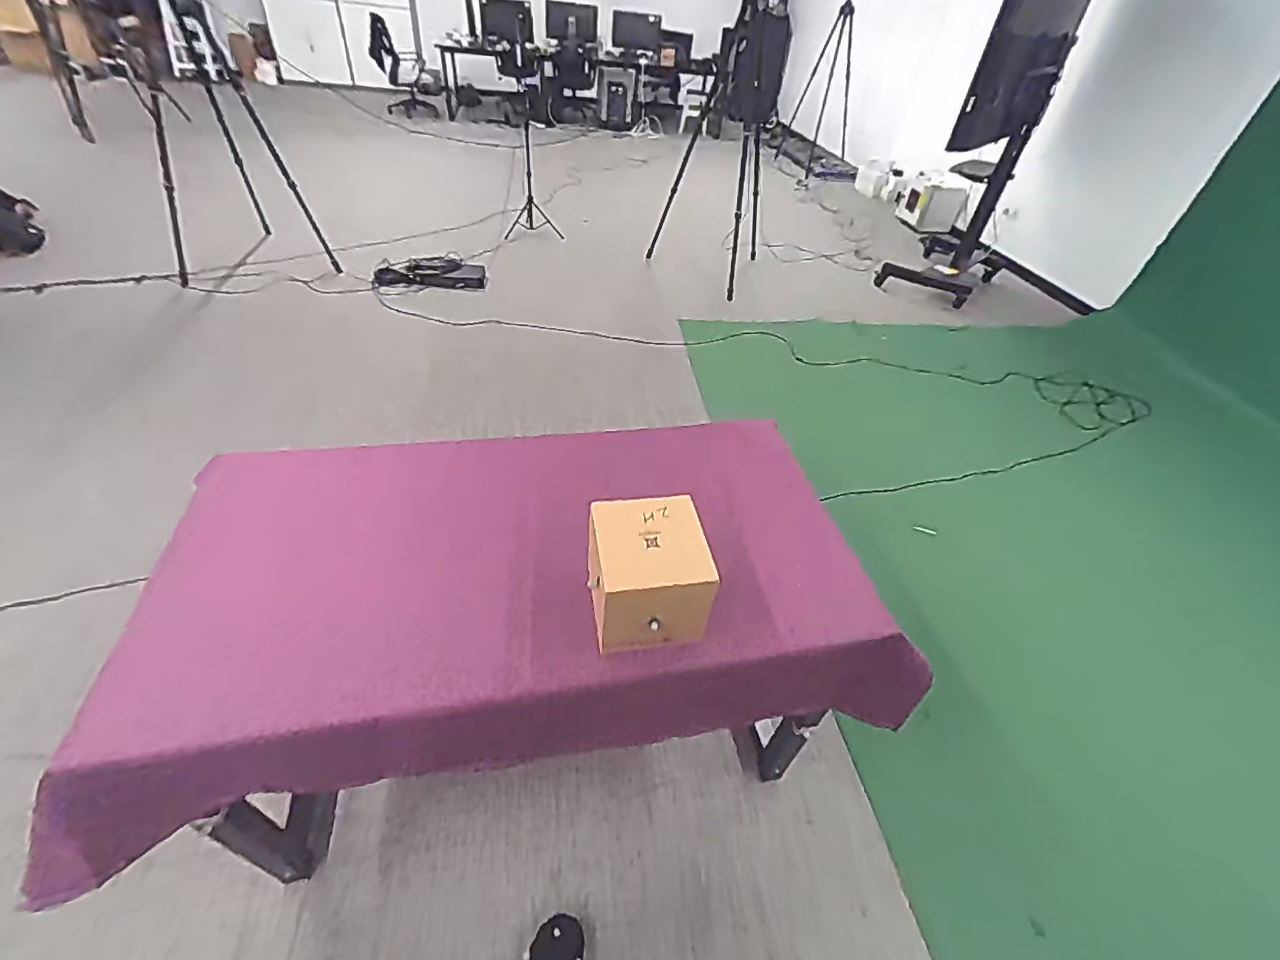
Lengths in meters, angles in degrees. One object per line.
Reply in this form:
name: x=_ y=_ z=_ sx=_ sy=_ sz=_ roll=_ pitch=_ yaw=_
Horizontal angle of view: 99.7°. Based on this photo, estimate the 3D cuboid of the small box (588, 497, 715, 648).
small box: x=0.008 y=0.151 z=0.861 sx=0.168 sy=0.176 sz=0.179 roll=-4 pitch=43 yaw=-11
